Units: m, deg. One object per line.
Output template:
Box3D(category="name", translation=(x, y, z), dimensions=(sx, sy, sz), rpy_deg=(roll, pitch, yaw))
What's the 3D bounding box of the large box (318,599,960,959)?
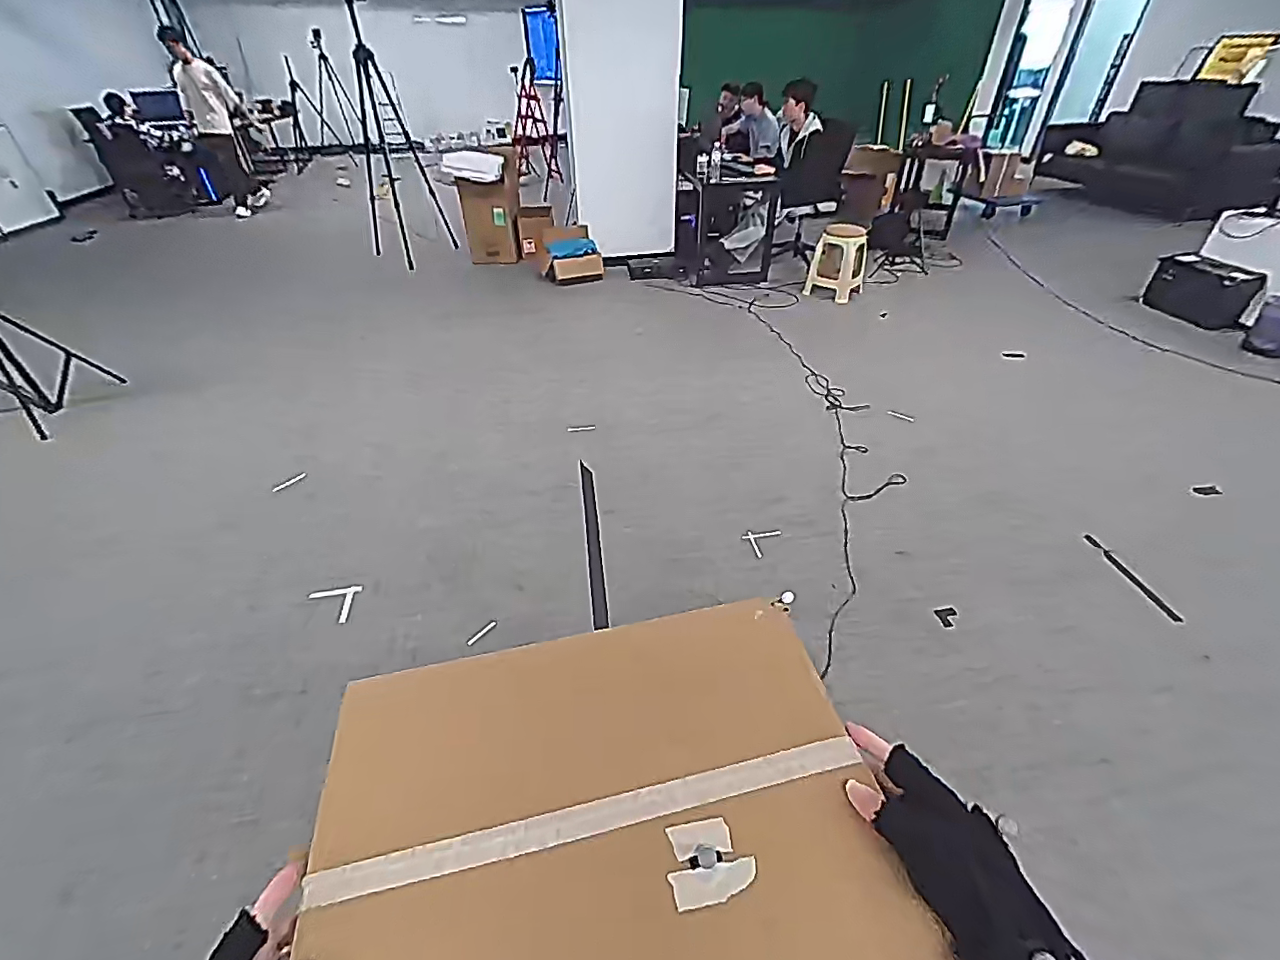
Box3D(category="large box", translation=(-0.020, 0.362, 0.504), dimensions=(0.408, 0.320, 0.320), rpy_deg=(-9, 42, -9))
